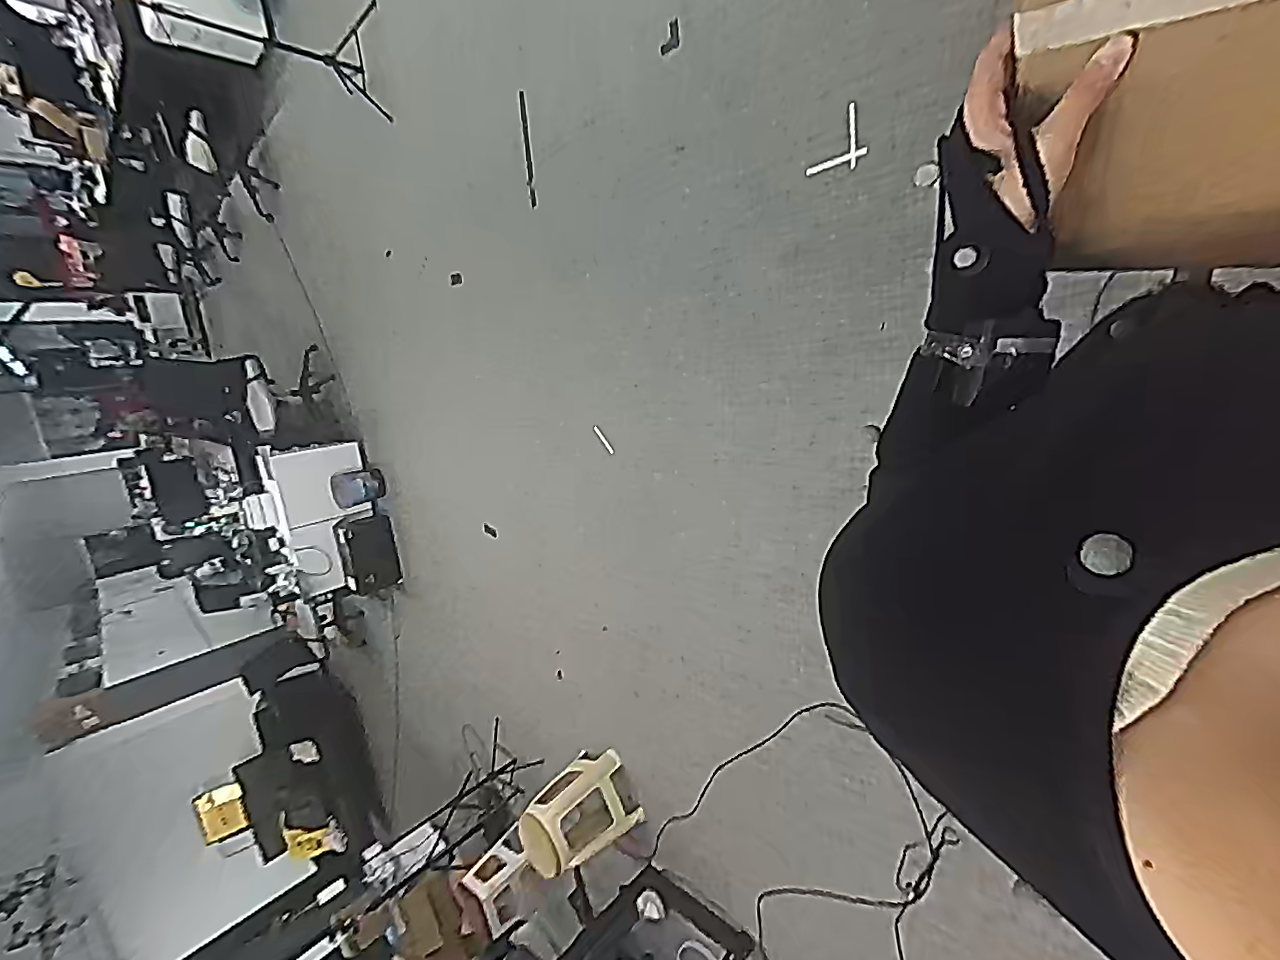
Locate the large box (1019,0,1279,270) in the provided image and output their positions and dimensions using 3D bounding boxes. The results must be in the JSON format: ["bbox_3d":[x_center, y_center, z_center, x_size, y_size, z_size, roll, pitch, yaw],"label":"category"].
[{"bbox_3d":[0.454,-0.333,0.250,0.408,0.320,0.320,15,150,40],"label":"large box"}]
